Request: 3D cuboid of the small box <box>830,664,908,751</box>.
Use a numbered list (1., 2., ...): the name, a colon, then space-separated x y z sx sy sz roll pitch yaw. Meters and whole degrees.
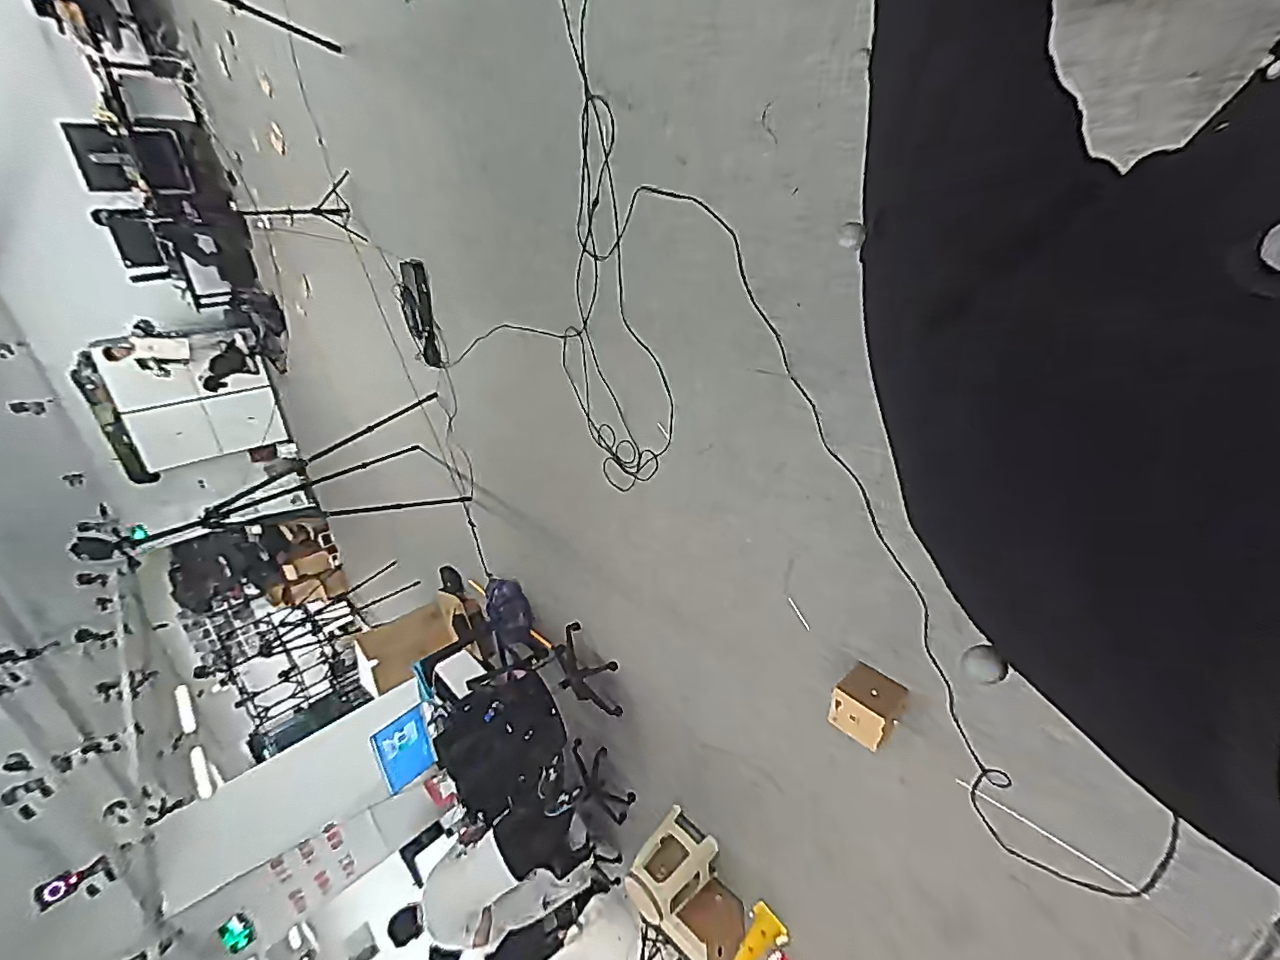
1. small box: 0.773 0.756 1.819 0.179 0.176 0.168 26 128 40
